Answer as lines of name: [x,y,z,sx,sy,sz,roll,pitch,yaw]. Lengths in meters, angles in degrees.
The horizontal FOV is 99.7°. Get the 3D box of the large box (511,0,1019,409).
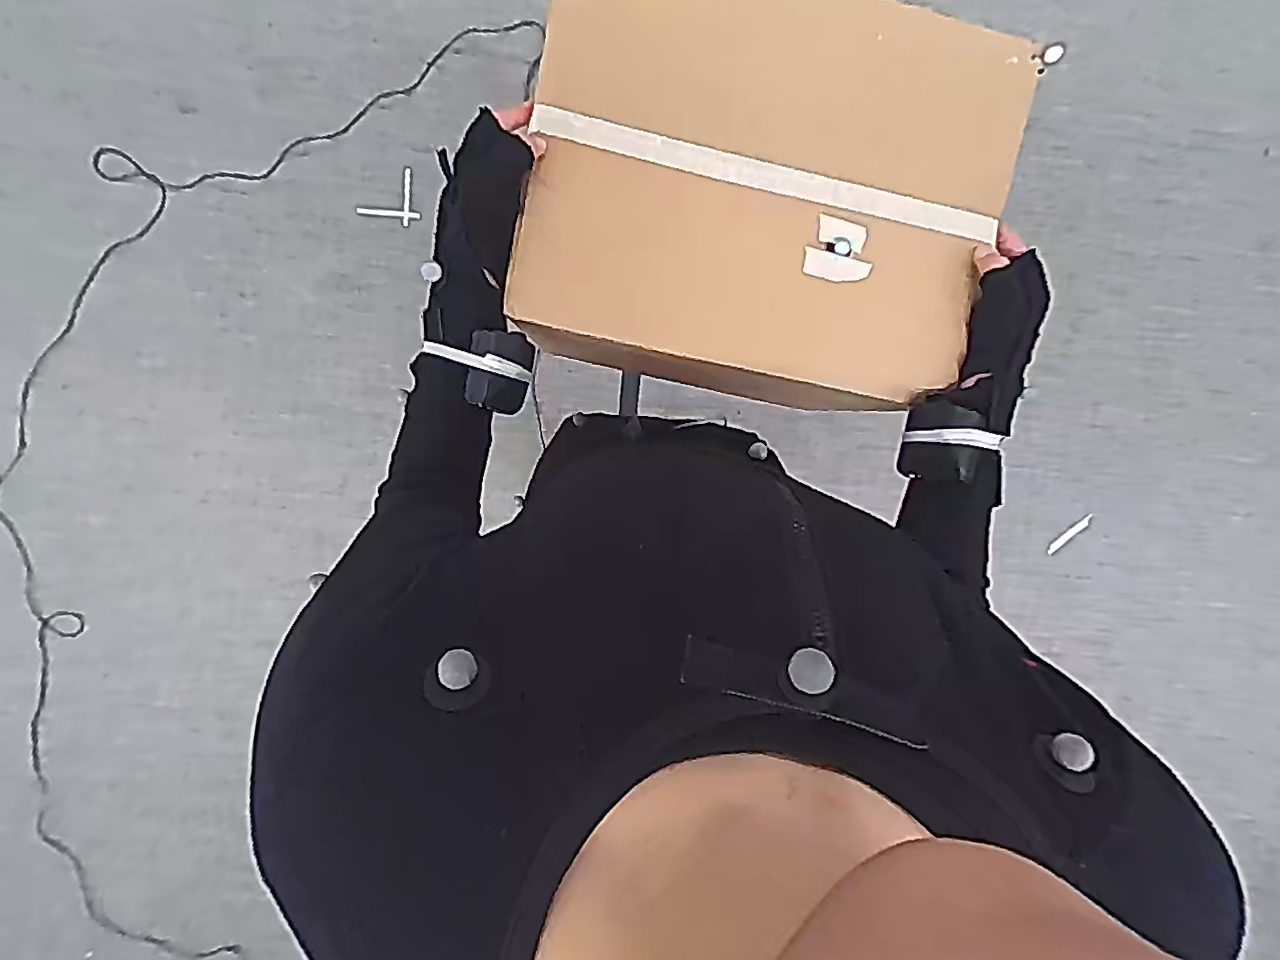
large box: [0.095,-0.269,0.612,0.408,0.320,0.320,11,98,-7]
